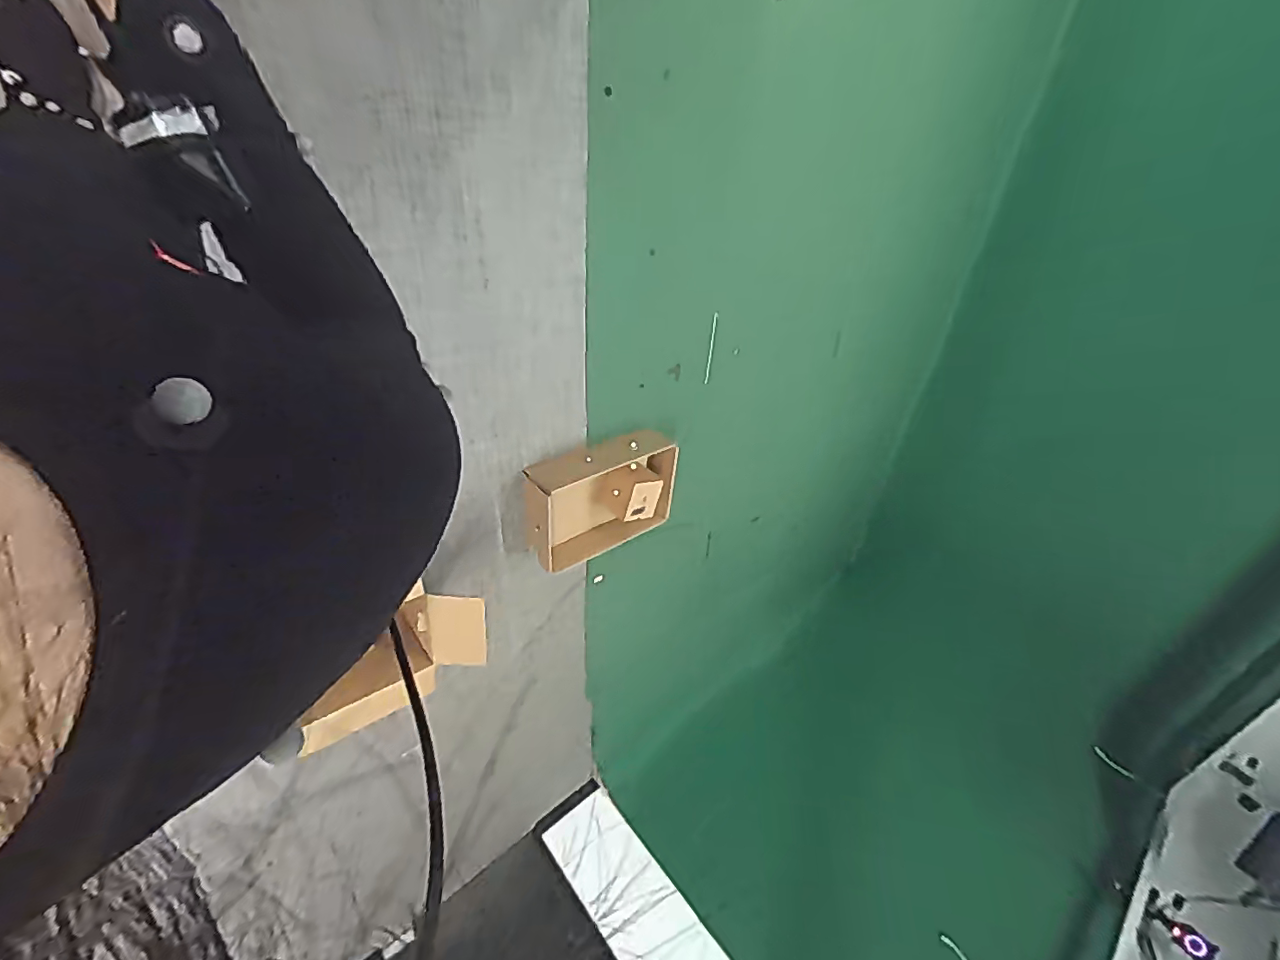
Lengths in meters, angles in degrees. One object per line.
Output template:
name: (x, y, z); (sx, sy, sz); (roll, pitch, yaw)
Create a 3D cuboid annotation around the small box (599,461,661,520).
small box: (-0.047, 0.039, 2.199); (0.168, 0.176, 0.179); (-7, 123, -43)
